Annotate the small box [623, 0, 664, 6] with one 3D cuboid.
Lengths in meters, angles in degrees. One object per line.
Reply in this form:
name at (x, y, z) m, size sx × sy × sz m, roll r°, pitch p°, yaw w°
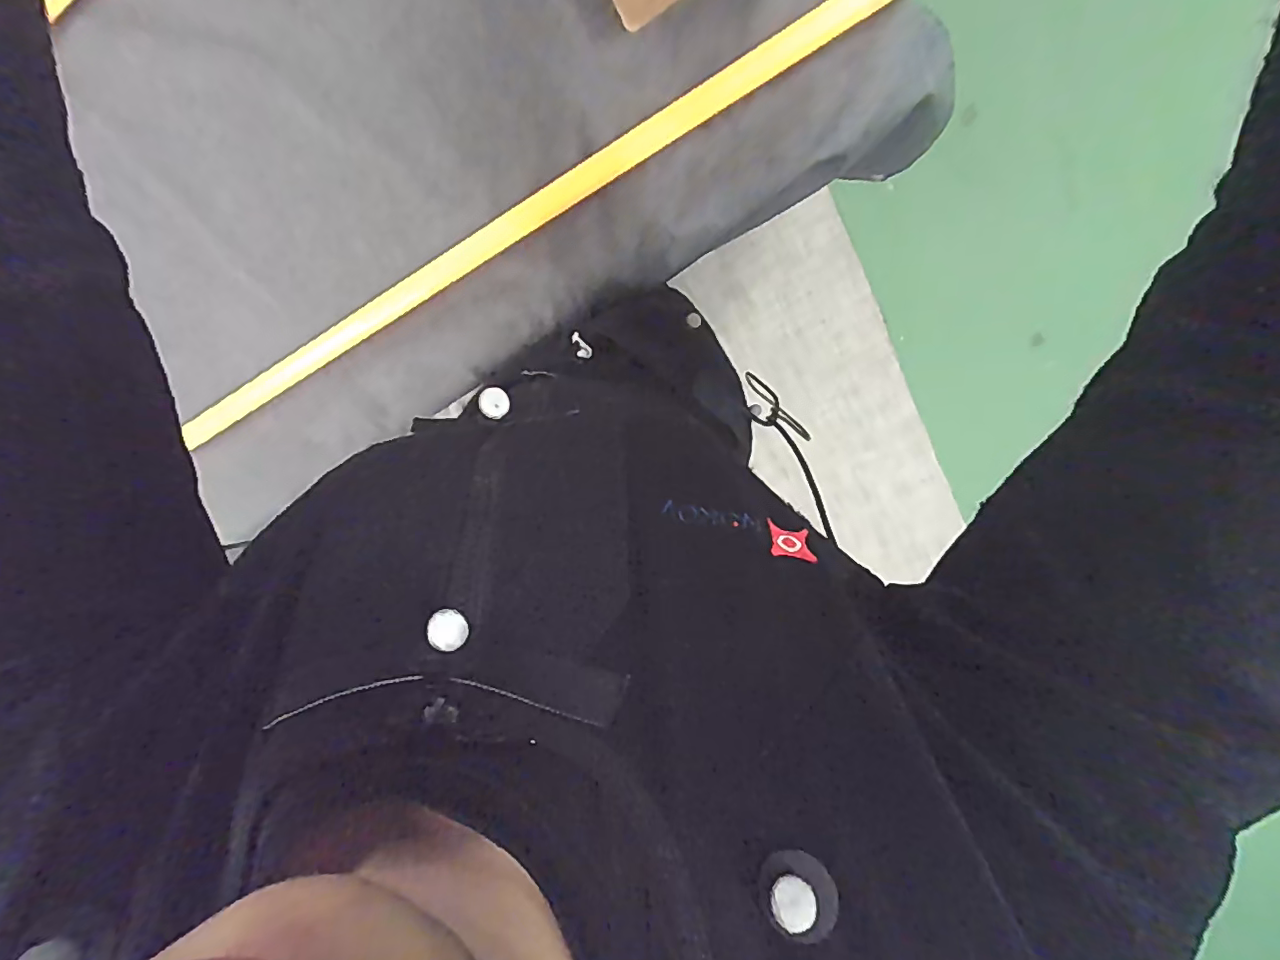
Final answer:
small box at (0.016, -0.453, 0.339) m, size 0.168 × 0.176 × 0.179 m, roll -26°, pitch 108°, yaw 16°
